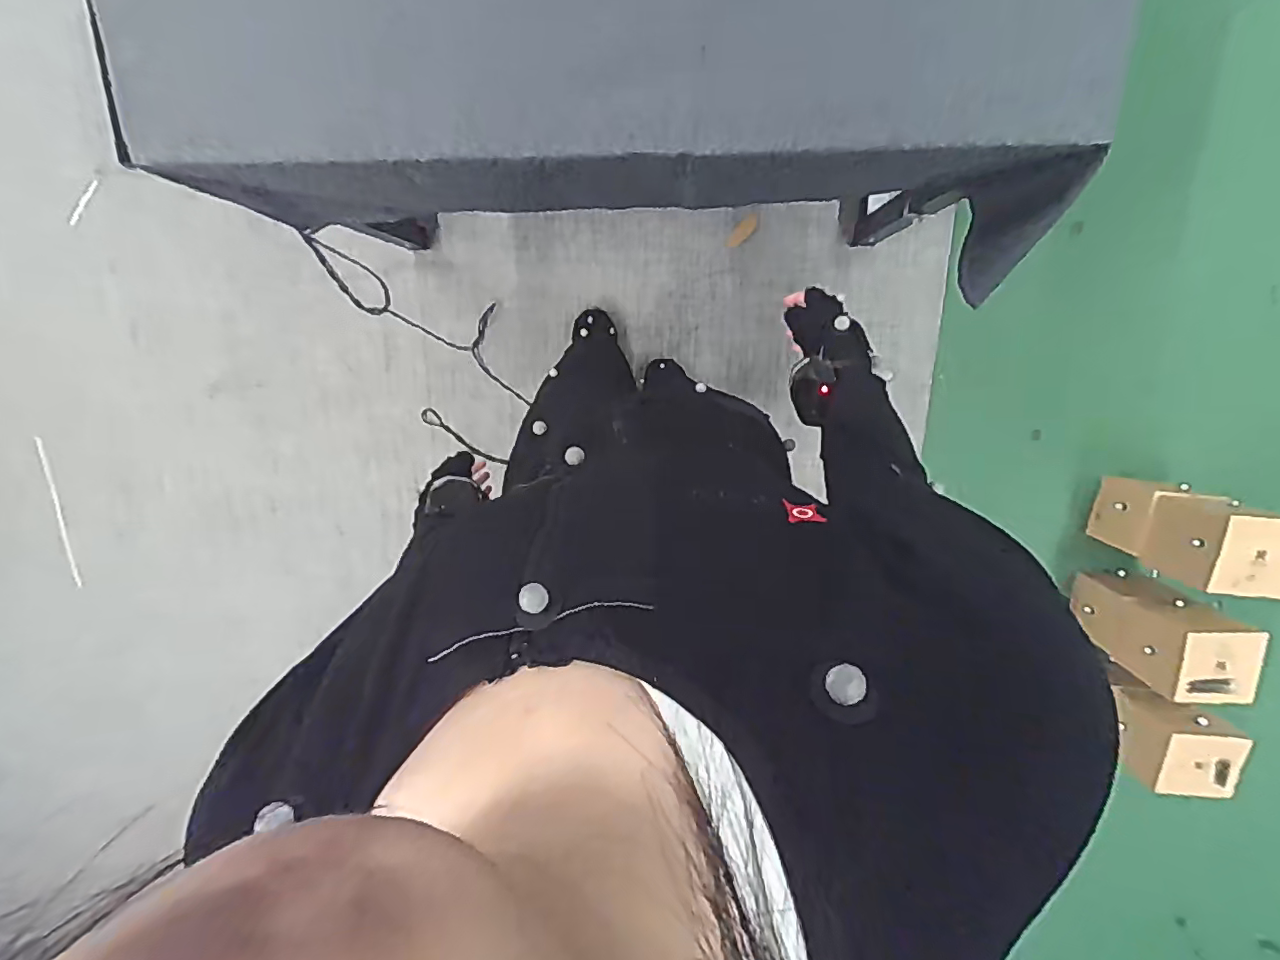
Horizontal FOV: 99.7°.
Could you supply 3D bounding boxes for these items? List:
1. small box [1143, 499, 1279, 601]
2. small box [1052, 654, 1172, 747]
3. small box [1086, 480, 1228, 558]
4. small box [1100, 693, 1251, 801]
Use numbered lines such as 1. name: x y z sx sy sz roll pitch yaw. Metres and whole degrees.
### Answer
1. small box: 1.277 0.146 1.194 0.168 0.176 0.179 5 103 2
2. small box: 1.272 0.603 1.473 0.168 0.176 0.179 4 103 2
3. small box: 1.276 0.100 1.353 0.179 0.176 0.168 6 103 2
4. small box: 1.287 0.641 1.313 0.179 0.176 0.168 3 104 3
